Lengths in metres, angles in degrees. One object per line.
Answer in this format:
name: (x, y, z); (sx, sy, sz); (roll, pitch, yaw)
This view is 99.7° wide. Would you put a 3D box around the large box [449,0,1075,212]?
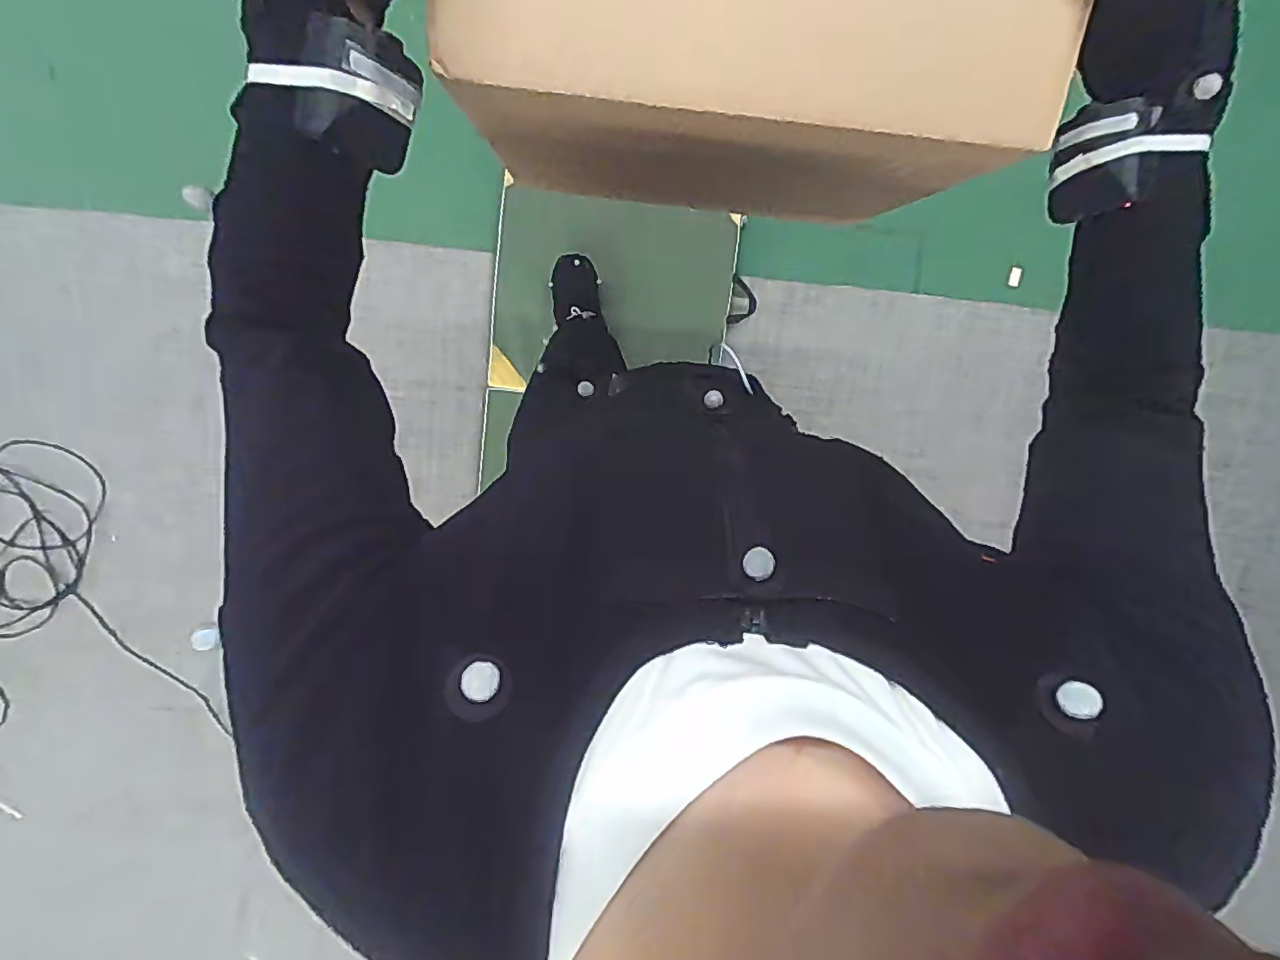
large box: (0.078, -0.436, 0.453); (0.408, 0.320, 0.320); (4, 107, -5)
